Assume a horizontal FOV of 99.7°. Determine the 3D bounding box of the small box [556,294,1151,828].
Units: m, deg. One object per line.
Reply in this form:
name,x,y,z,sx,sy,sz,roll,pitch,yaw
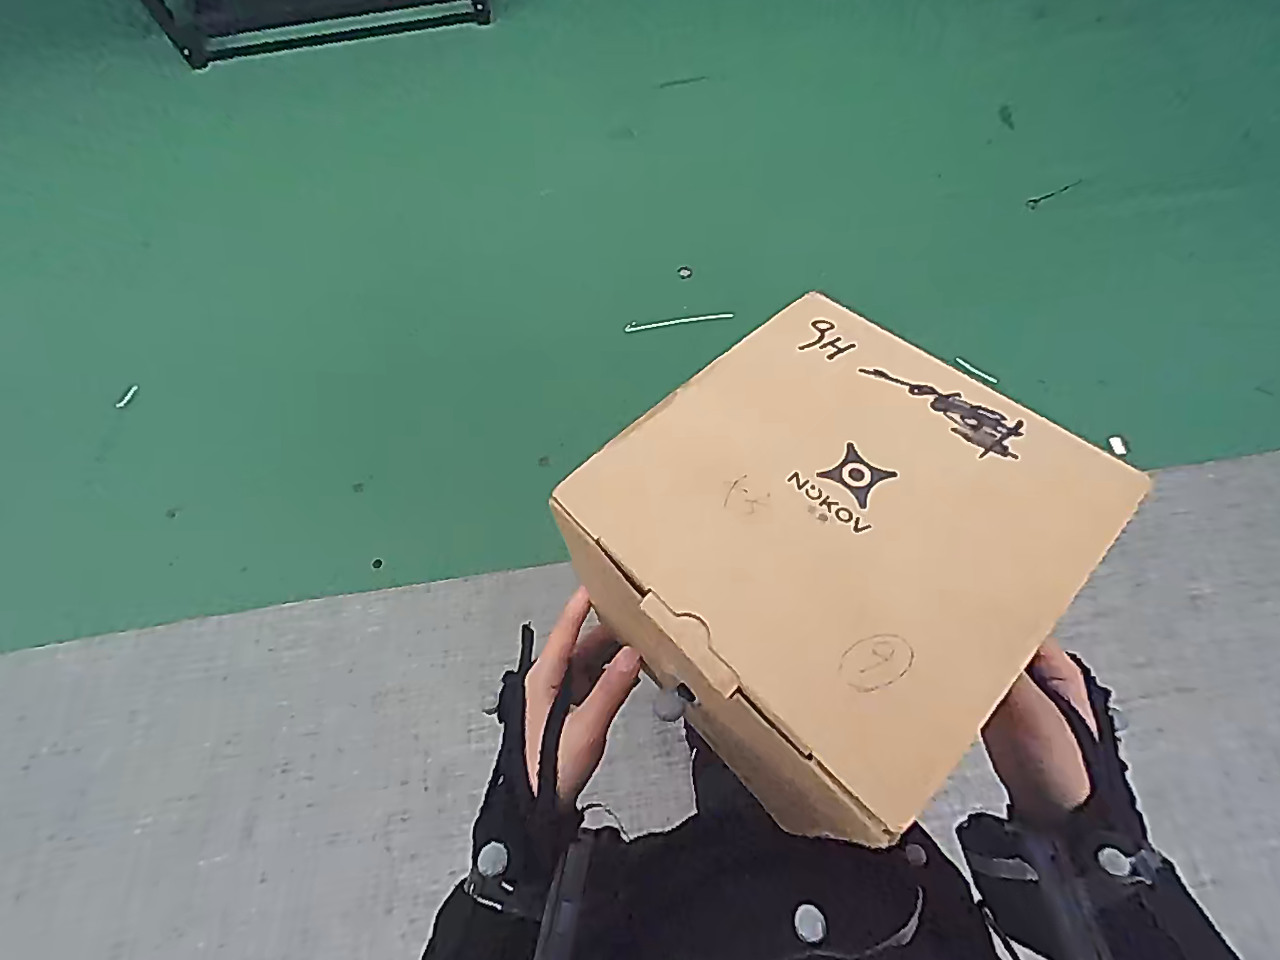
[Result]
small box,0.087,0.046,0.284,0.179,0.176,0.168,-39,63,-18
